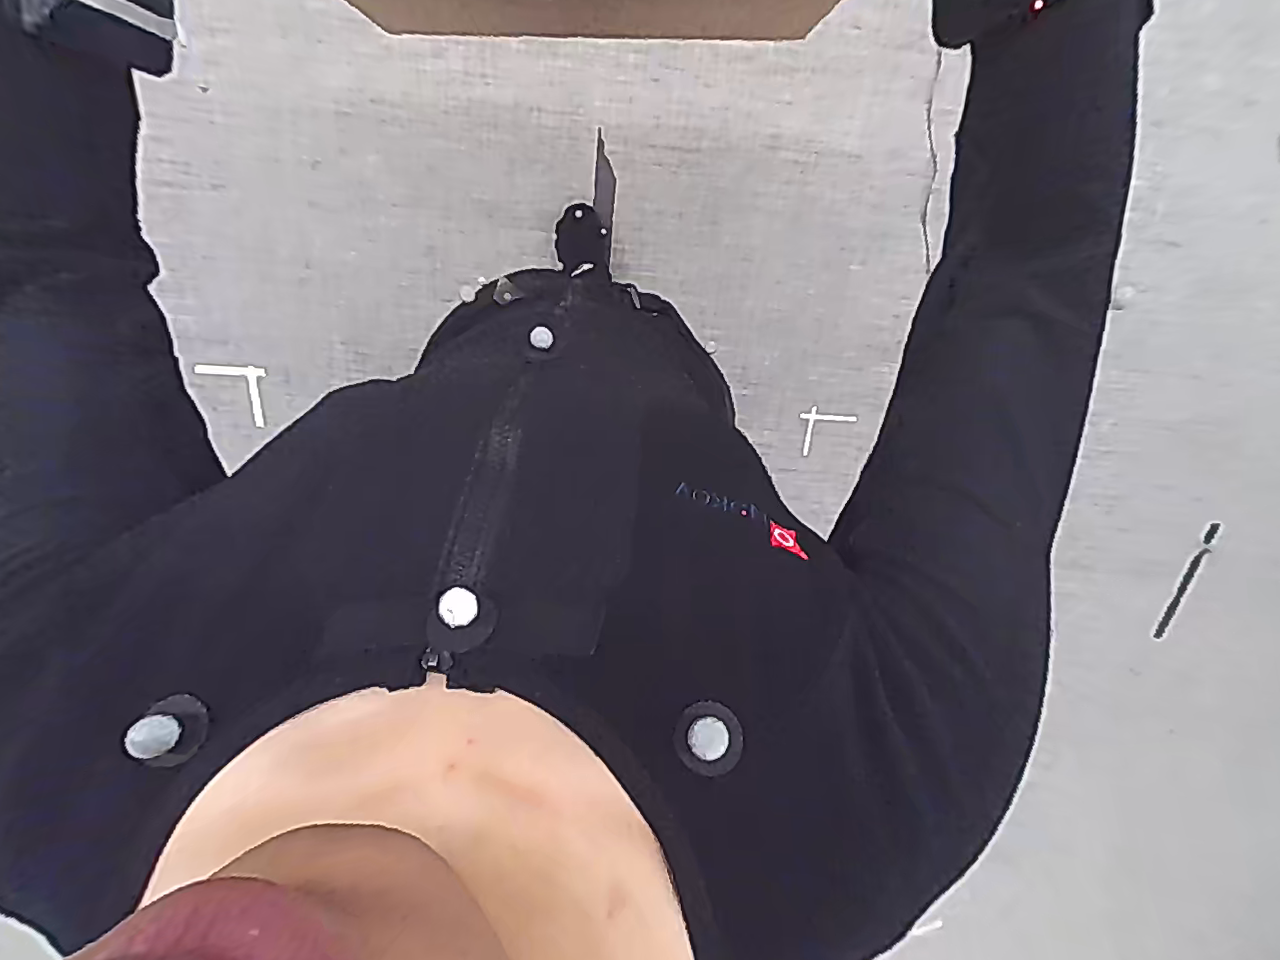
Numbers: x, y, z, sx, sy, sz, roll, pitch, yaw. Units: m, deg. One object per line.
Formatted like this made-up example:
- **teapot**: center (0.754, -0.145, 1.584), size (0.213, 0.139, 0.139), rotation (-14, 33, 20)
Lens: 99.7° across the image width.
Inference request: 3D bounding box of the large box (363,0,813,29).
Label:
- **large box**: center (-0.042, -0.508, 0.318), size (0.408, 0.320, 0.320), rotation (0, 117, -1)
